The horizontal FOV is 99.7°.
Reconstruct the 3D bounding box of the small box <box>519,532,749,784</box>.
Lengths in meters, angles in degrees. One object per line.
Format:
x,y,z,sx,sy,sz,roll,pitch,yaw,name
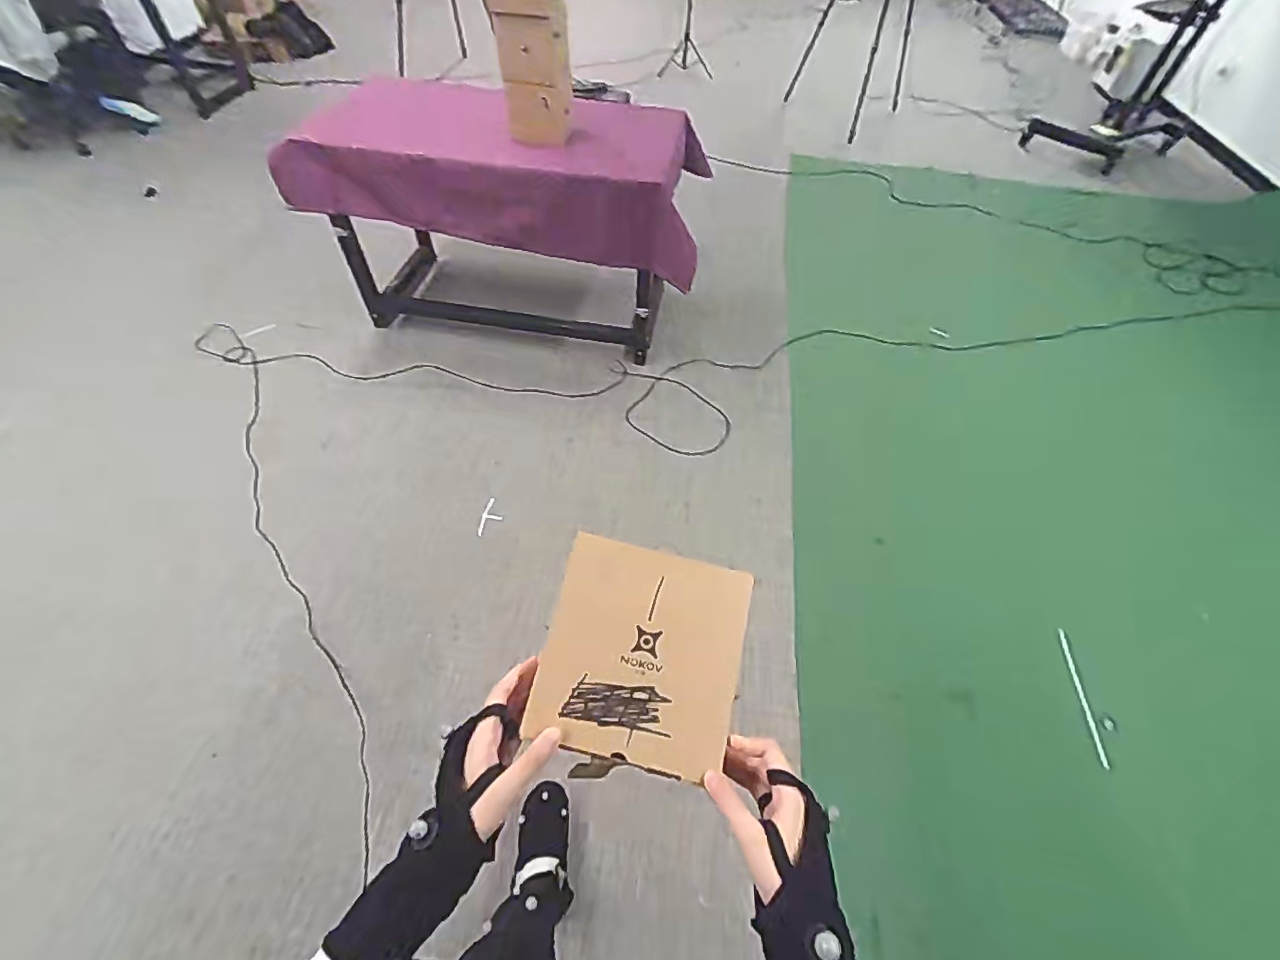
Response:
-0.003,0.171,0.533,0.168,0.176,0.179,13,69,2,small box

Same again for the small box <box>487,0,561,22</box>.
-0.323,-1.393,1.493,0.179,0.176,0.168,10,52,5,small box

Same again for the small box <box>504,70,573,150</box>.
-0.320,-1.200,1.759,0.179,0.176,0.168,10,52,5,small box
